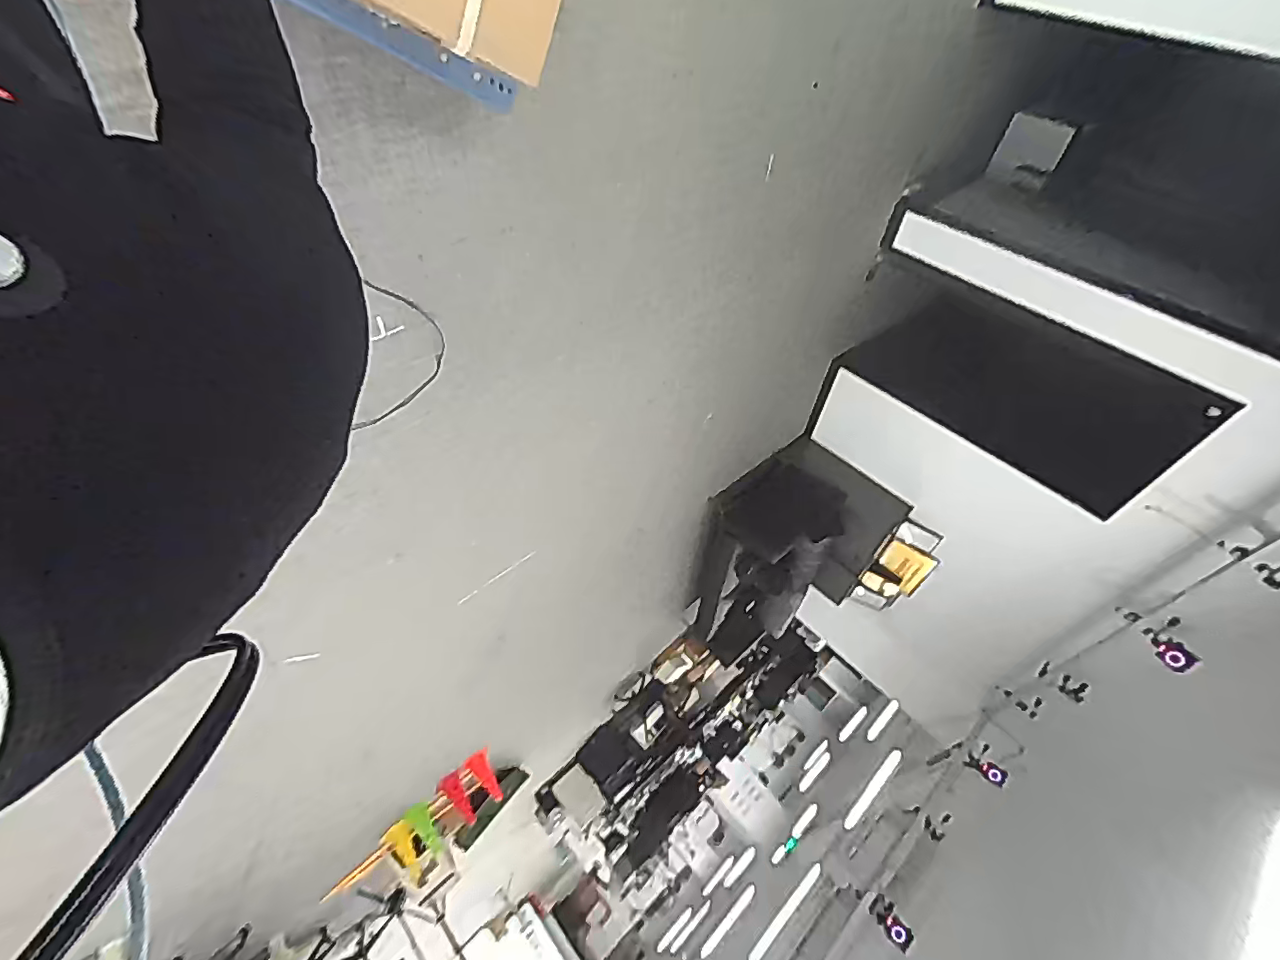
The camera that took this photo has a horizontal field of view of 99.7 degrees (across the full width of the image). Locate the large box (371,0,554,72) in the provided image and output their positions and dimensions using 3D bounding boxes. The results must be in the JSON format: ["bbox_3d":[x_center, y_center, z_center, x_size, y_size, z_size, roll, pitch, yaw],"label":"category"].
[{"bbox_3d":[-0.307,-0.943,0.821,0.320,0.320,0.408,-12,135,-51],"label":"large box"}]
